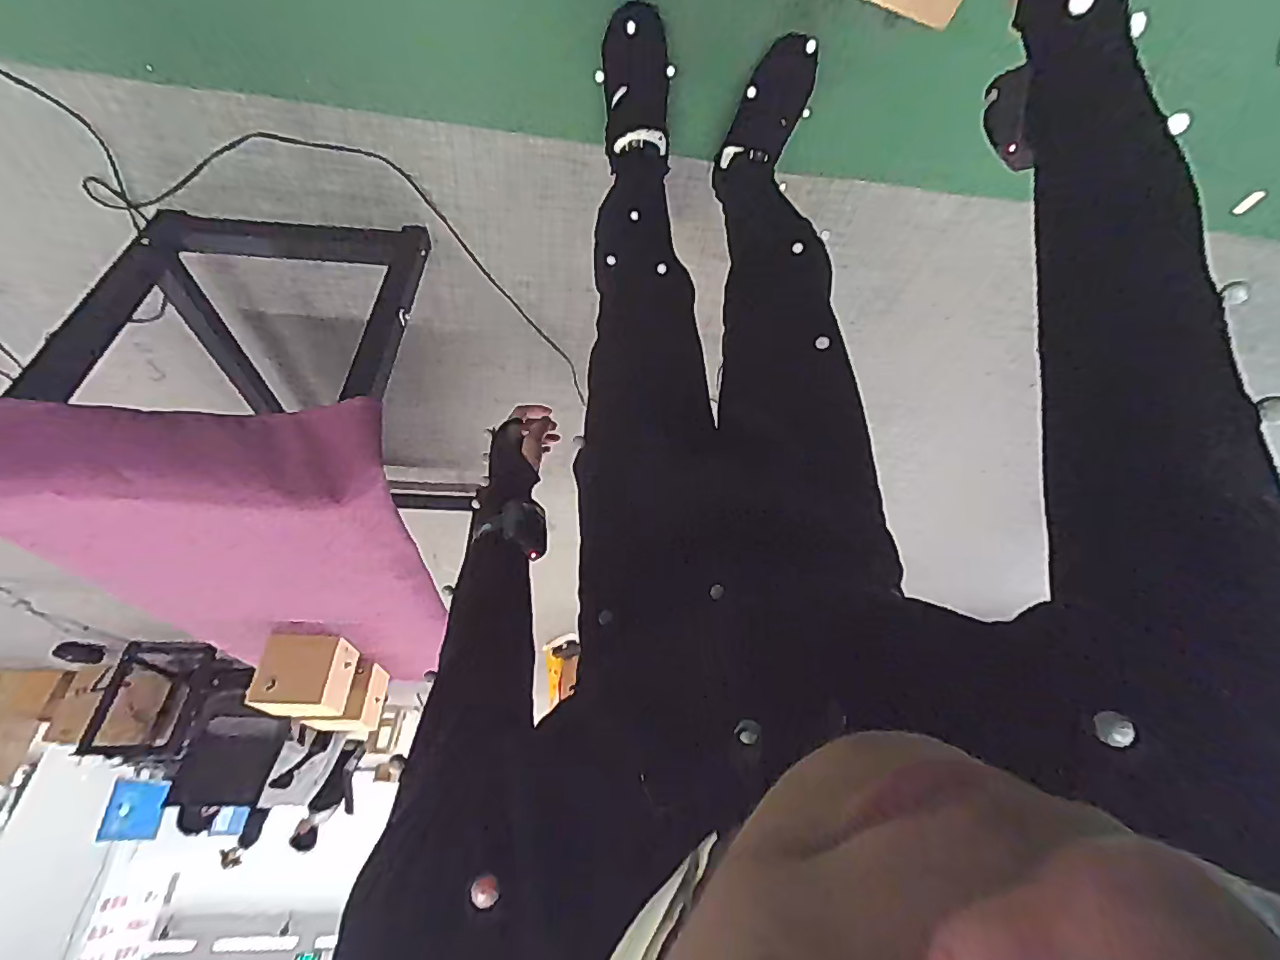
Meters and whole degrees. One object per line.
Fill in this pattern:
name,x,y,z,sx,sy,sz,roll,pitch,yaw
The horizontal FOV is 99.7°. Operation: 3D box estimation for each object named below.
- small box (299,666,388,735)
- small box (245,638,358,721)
small box,-0.868,0.652,1.601,0.168,0.176,0.179,4,147,-6
small box,-0.857,0.511,1.387,0.179,0.176,0.168,4,147,-7
